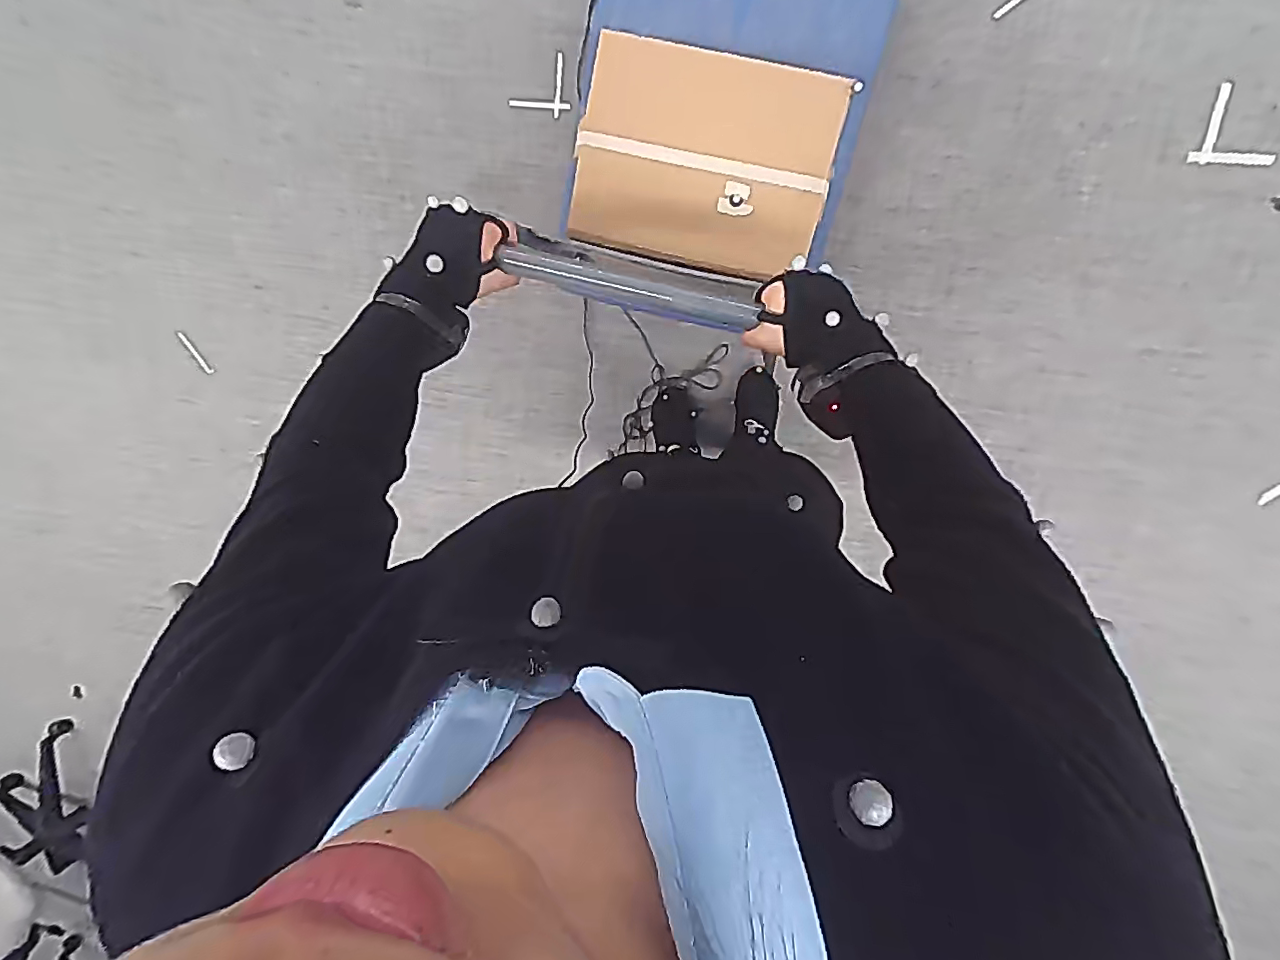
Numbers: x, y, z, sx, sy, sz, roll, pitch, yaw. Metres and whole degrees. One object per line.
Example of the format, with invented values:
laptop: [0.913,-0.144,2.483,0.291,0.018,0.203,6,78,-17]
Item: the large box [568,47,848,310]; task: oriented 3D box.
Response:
large box: [0.109,-0.526,1.016,0.408,0.320,0.320,13,104,2]
